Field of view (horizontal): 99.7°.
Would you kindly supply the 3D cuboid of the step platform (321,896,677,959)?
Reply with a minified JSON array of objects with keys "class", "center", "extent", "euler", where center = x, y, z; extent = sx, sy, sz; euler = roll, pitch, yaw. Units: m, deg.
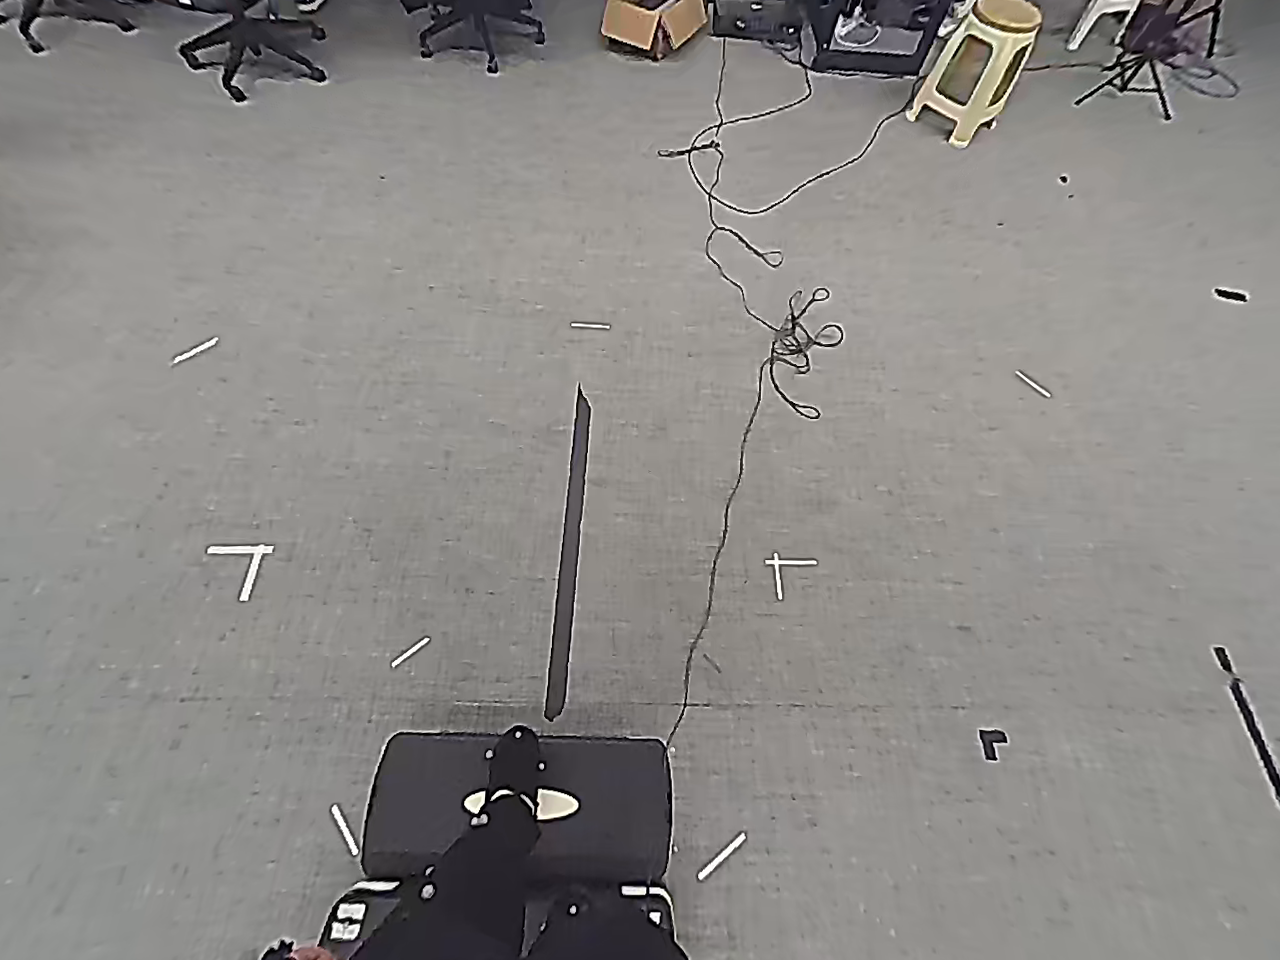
[{"class":"step platform","center":[-0.266,1.004,1.016],"extent":[0.684,0.204,0.286],"euler":[6,60,1]}]
